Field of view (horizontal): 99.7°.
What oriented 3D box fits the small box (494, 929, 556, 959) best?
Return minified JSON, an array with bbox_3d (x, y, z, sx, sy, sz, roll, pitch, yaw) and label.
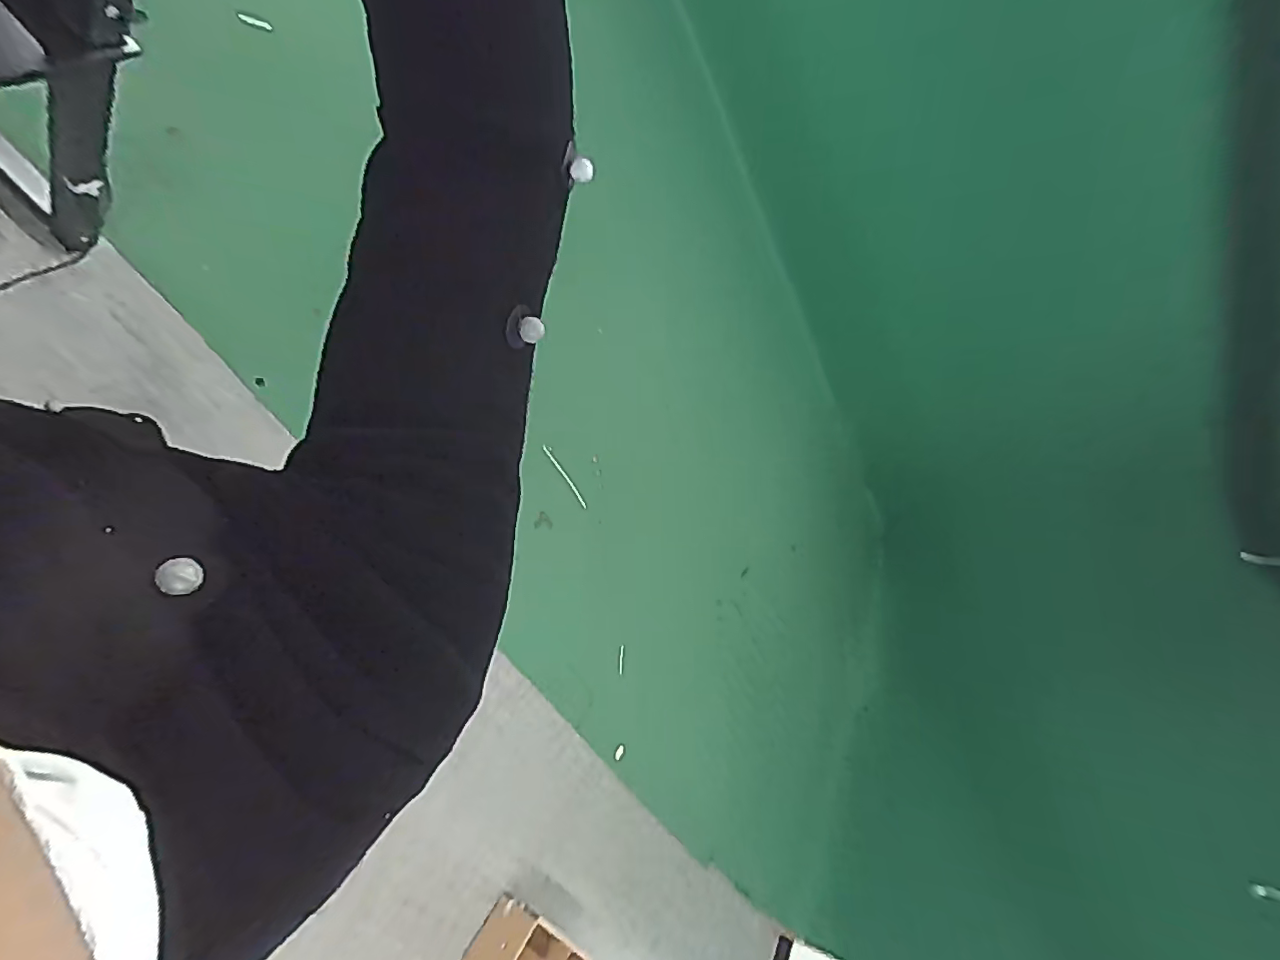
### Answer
[{"bbox_3d":[-0.370,1.595,1.734,0.168,0.176,0.179,-51,122,-36],"label":"small box"}]
